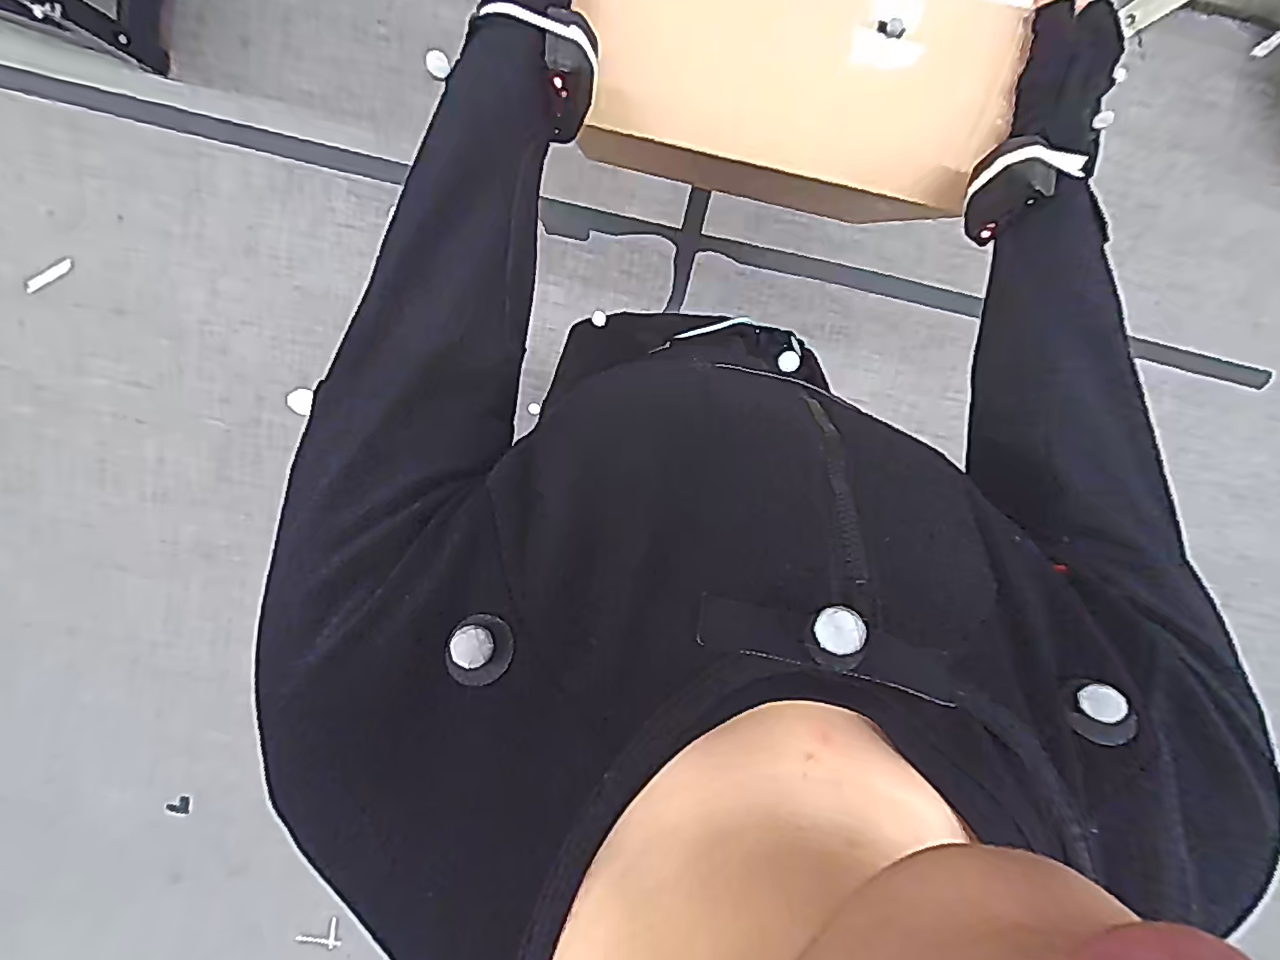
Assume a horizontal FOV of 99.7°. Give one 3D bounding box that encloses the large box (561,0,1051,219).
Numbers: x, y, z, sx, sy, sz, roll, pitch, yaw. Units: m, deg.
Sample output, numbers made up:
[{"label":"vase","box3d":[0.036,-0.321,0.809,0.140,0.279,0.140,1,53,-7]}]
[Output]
[{"label":"large box","box3d":[0.146,-0.487,0.578,0.408,0.320,0.320,10,115,-5]}]
